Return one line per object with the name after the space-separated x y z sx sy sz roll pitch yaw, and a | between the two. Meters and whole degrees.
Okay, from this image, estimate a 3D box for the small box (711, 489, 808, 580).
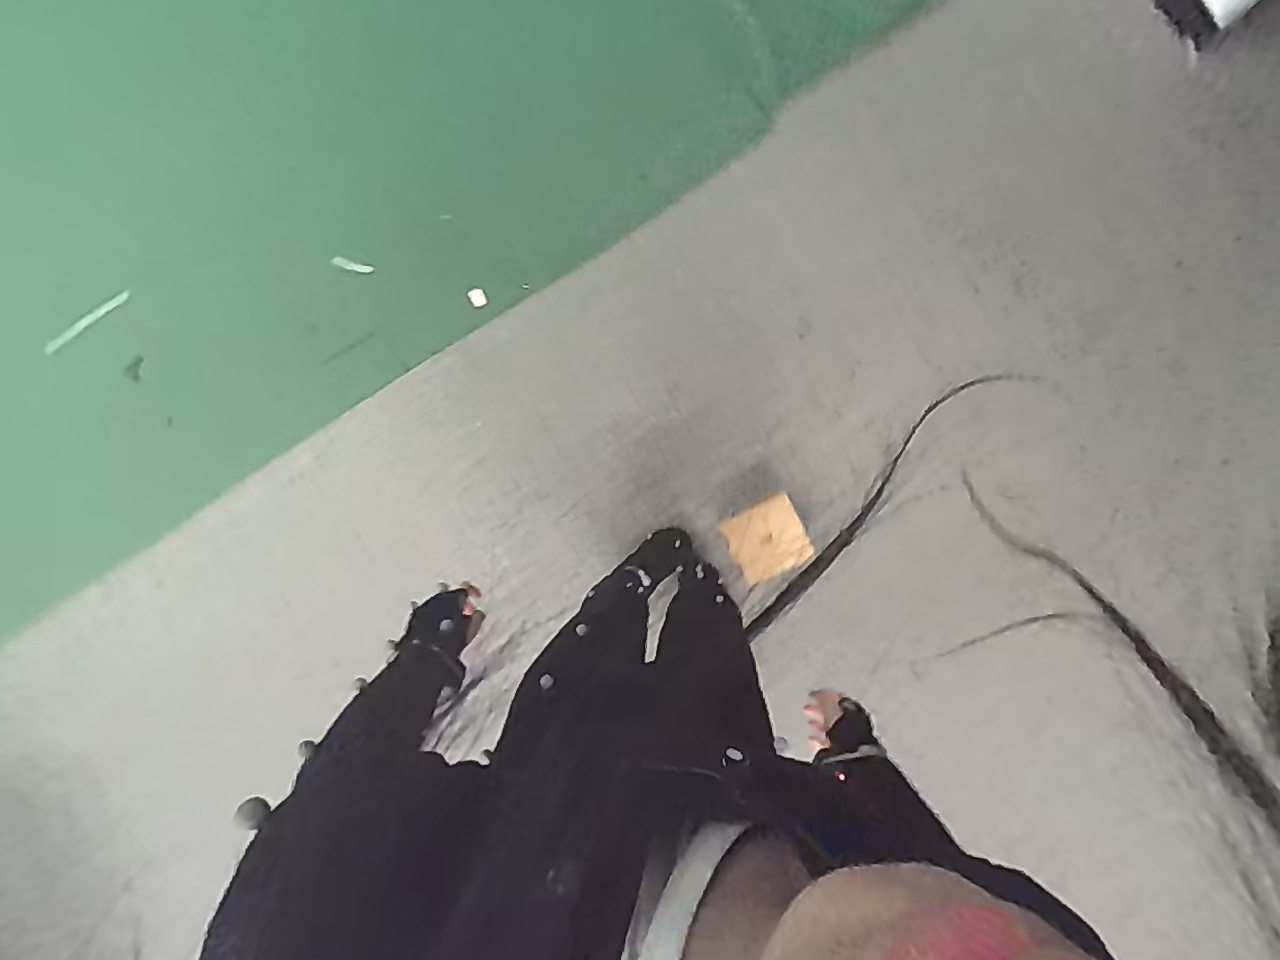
0.292 0.128 1.362 0.179 0.176 0.168 -25 89 4 | small box
